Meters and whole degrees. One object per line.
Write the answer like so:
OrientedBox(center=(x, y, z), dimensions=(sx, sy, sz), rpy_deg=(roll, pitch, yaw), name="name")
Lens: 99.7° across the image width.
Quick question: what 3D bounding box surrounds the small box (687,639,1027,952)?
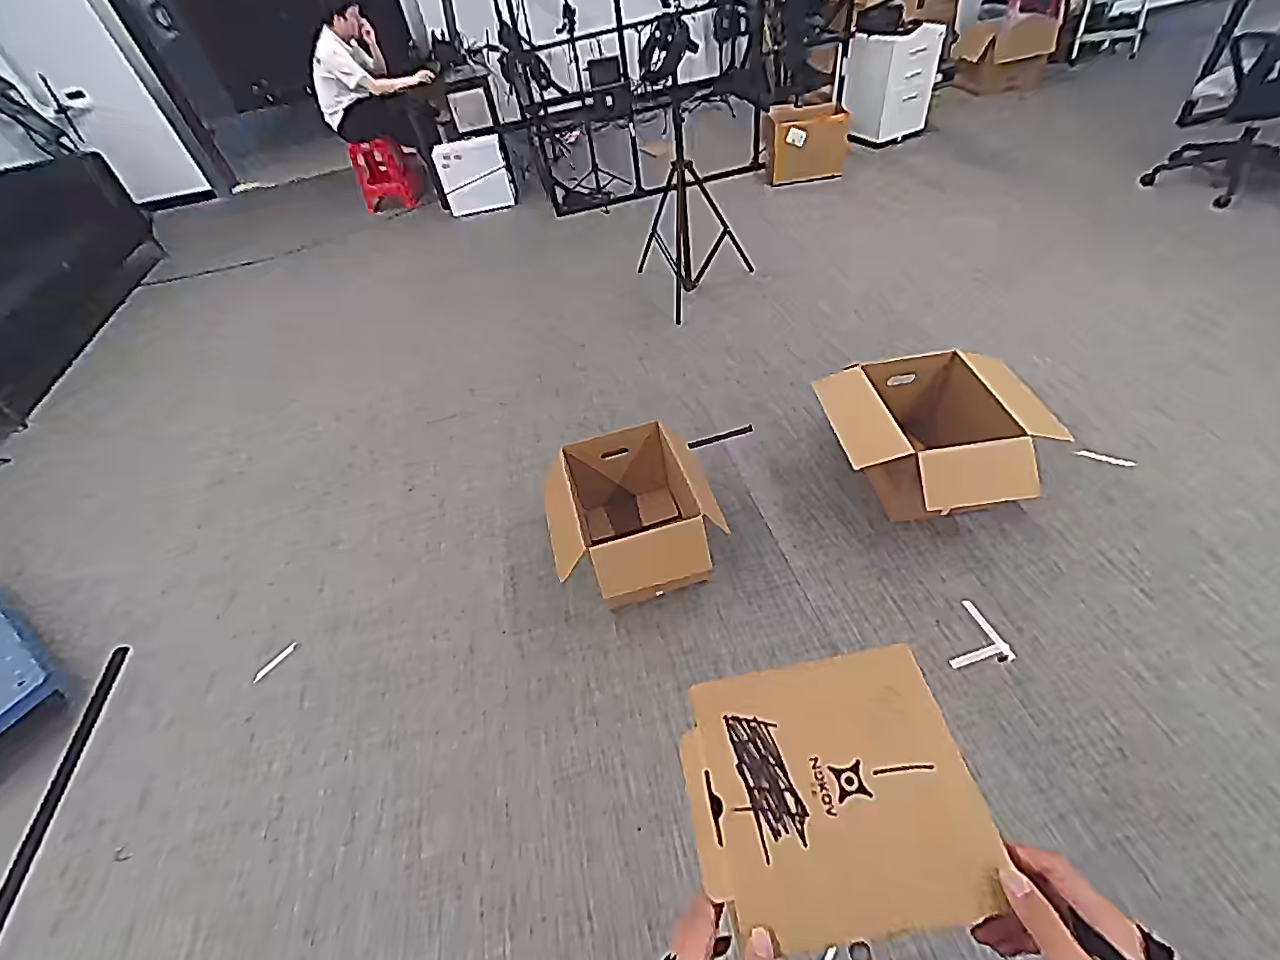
OrientedBox(center=(0.144, 0.250, 0.428), dimensions=(0.179, 0.176, 0.168), rpy_deg=(-12, 52, 0), name="small box")
